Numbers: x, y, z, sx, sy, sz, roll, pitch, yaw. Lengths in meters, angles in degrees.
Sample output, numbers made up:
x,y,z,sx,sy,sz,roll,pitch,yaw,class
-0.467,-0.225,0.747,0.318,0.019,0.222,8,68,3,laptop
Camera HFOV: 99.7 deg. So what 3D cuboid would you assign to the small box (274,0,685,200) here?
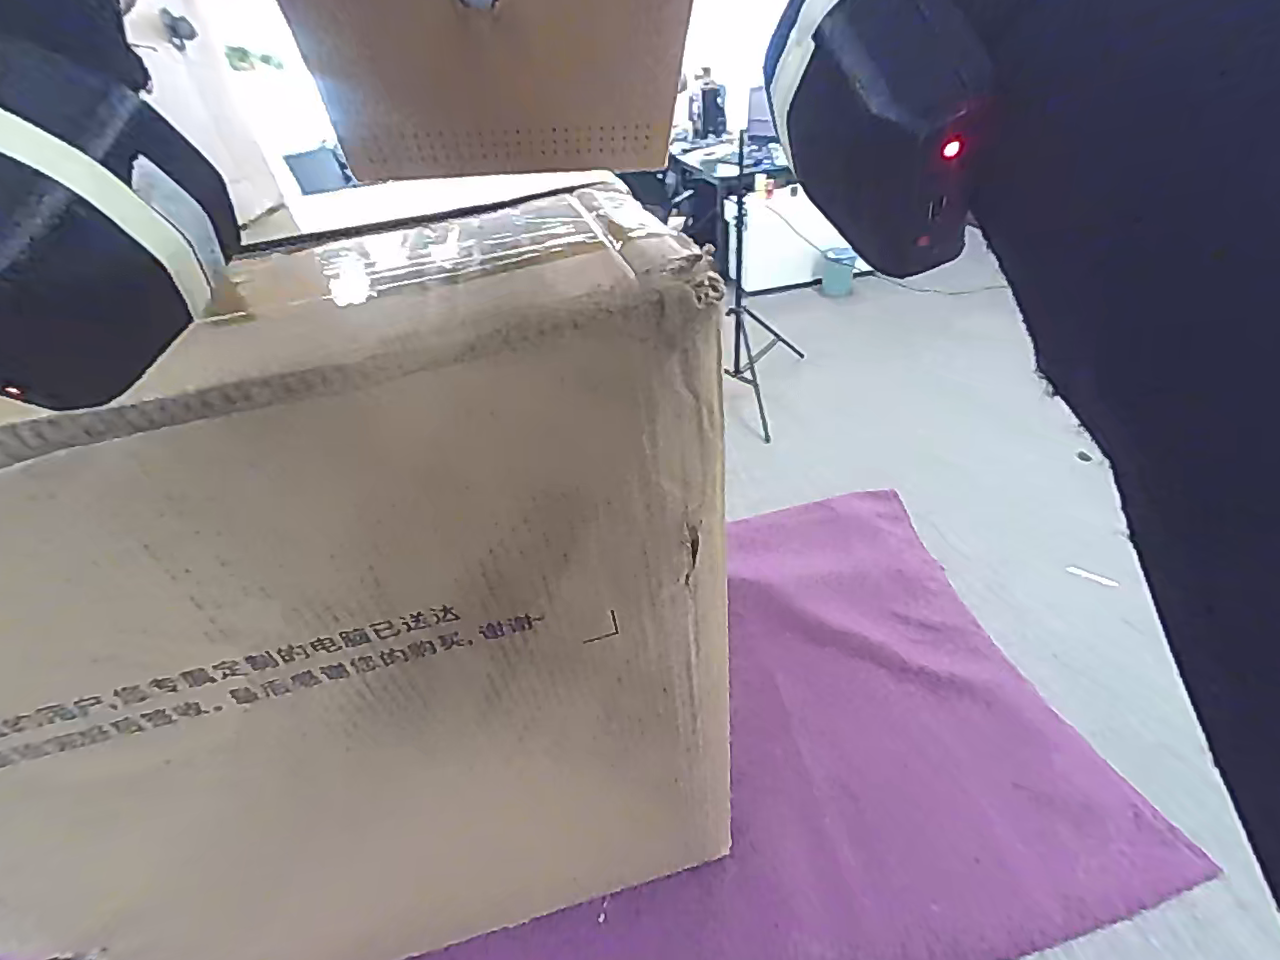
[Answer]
x,y,z,sx,sy,sz,roll,pitch,yaw,class
-0.077,-0.268,0.266,0.179,0.176,0.168,-9,70,-9,small box
